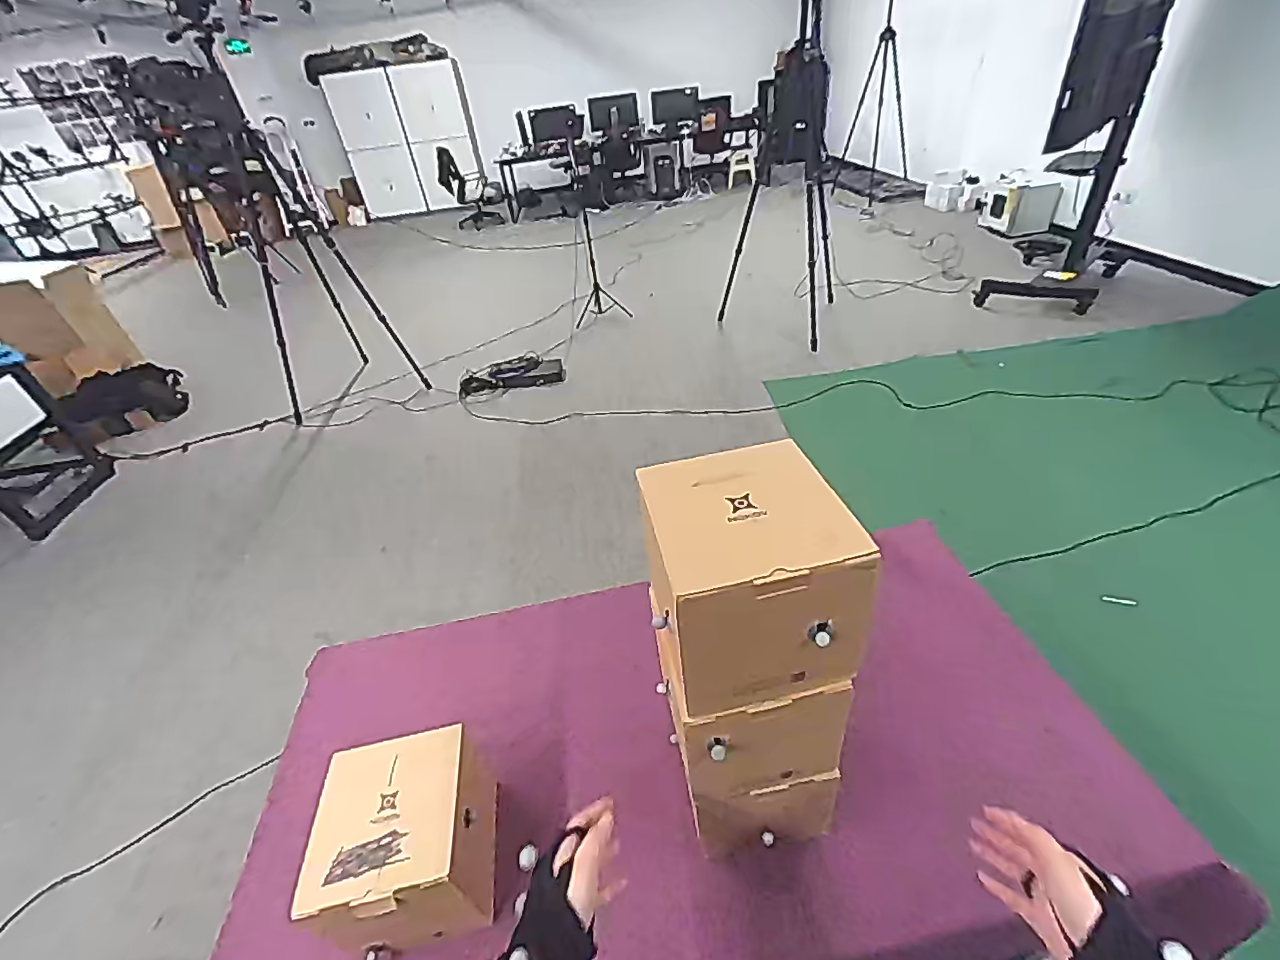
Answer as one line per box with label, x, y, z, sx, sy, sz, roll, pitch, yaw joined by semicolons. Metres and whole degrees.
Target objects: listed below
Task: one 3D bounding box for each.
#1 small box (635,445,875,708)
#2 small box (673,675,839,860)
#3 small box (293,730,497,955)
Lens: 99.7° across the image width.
small box;0.098;0.094;0.519;0.168;0.176;0.179;-11;36;-4
small box;0.141;0.357;0.709;0.168;0.176;0.179;-10;37;-1
small box;-0.281;0.451;0.671;0.168;0.176;0.179;-12;36;-5
